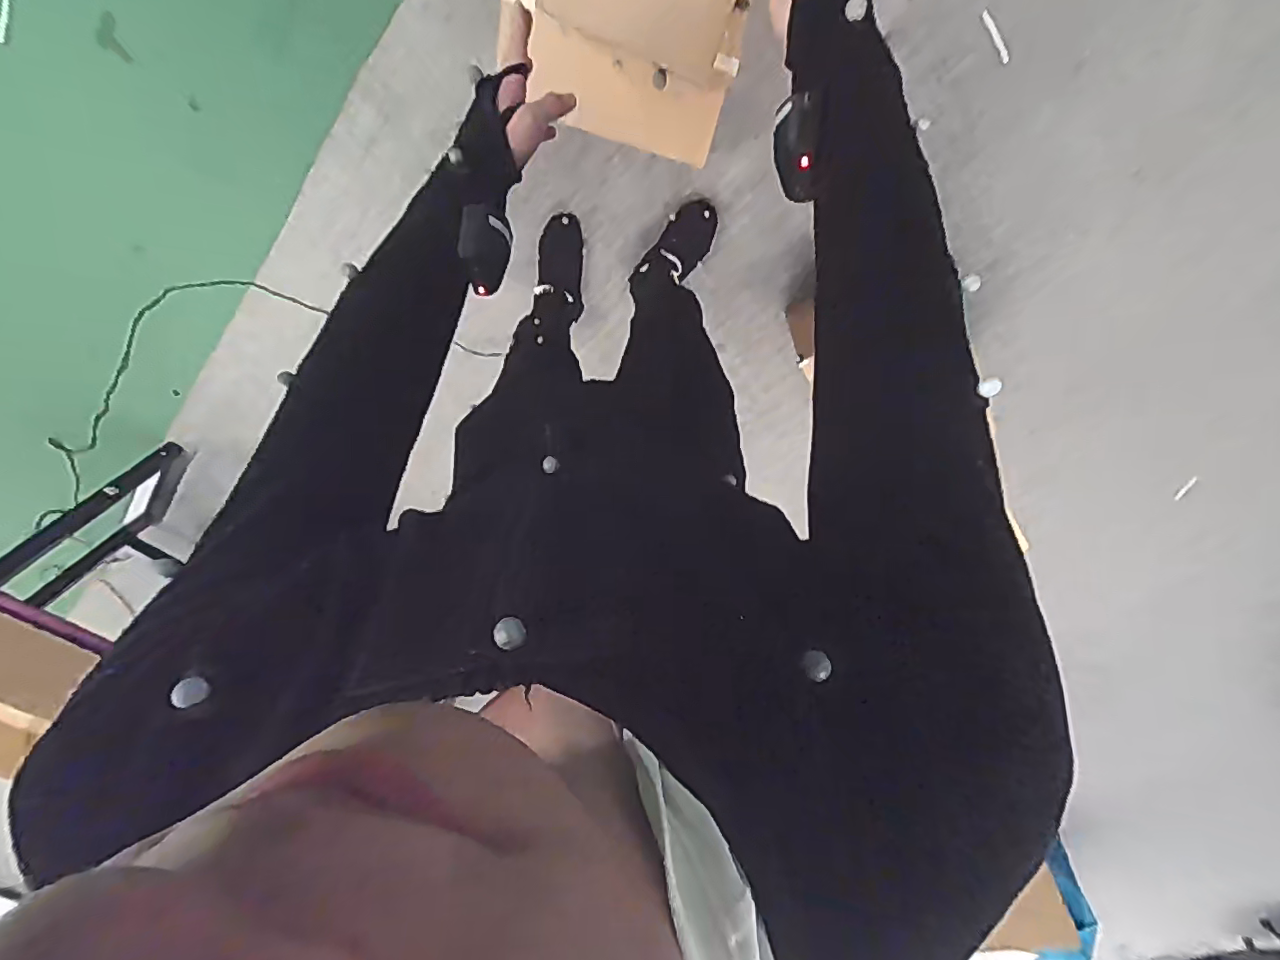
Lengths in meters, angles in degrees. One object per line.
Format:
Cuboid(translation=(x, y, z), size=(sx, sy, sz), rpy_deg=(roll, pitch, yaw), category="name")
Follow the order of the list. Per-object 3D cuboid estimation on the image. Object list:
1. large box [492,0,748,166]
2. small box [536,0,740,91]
Cuboid(translation=(-0.024, -0.834, 1.019), size=(0.408, 0.320, 0.320), rpy_deg=(16, 126, -3), category="large box")
Cuboid(translation=(0.019, -0.515, 0.531), size=(0.179, 0.176, 0.168), rpy_deg=(20, 125, -8), category="small box")
